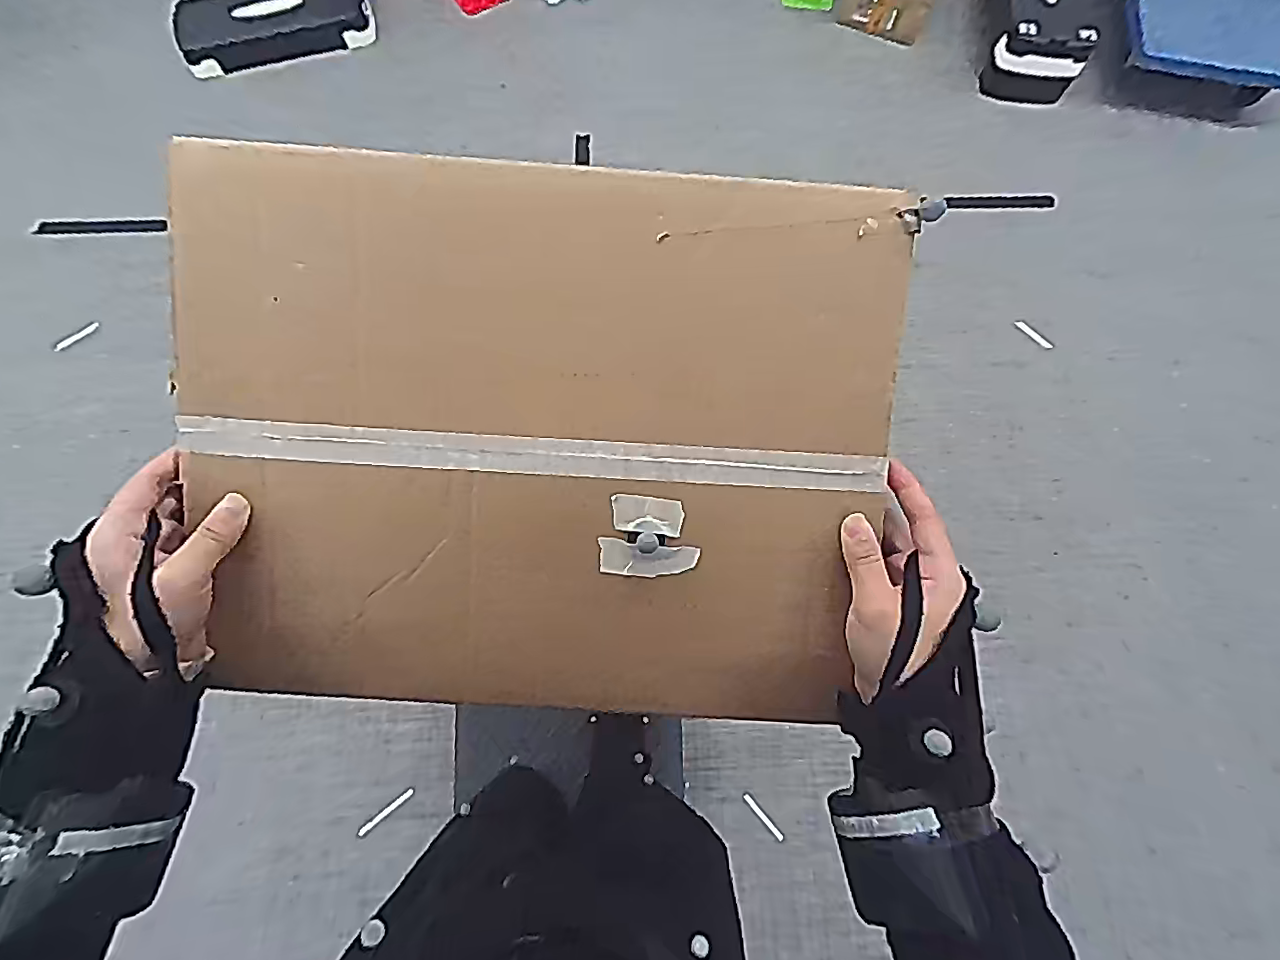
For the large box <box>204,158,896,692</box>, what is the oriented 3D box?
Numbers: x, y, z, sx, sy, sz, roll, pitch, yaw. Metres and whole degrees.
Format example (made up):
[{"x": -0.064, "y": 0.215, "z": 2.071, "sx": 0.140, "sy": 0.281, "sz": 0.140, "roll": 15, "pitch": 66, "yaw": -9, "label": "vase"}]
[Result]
[{"x": -0.060, "y": -0.040, "z": 0.473, "sx": 0.408, "sy": 0.320, "sz": 0.320, "roll": 3, "pitch": 98, "yaw": -1, "label": "large box"}]
